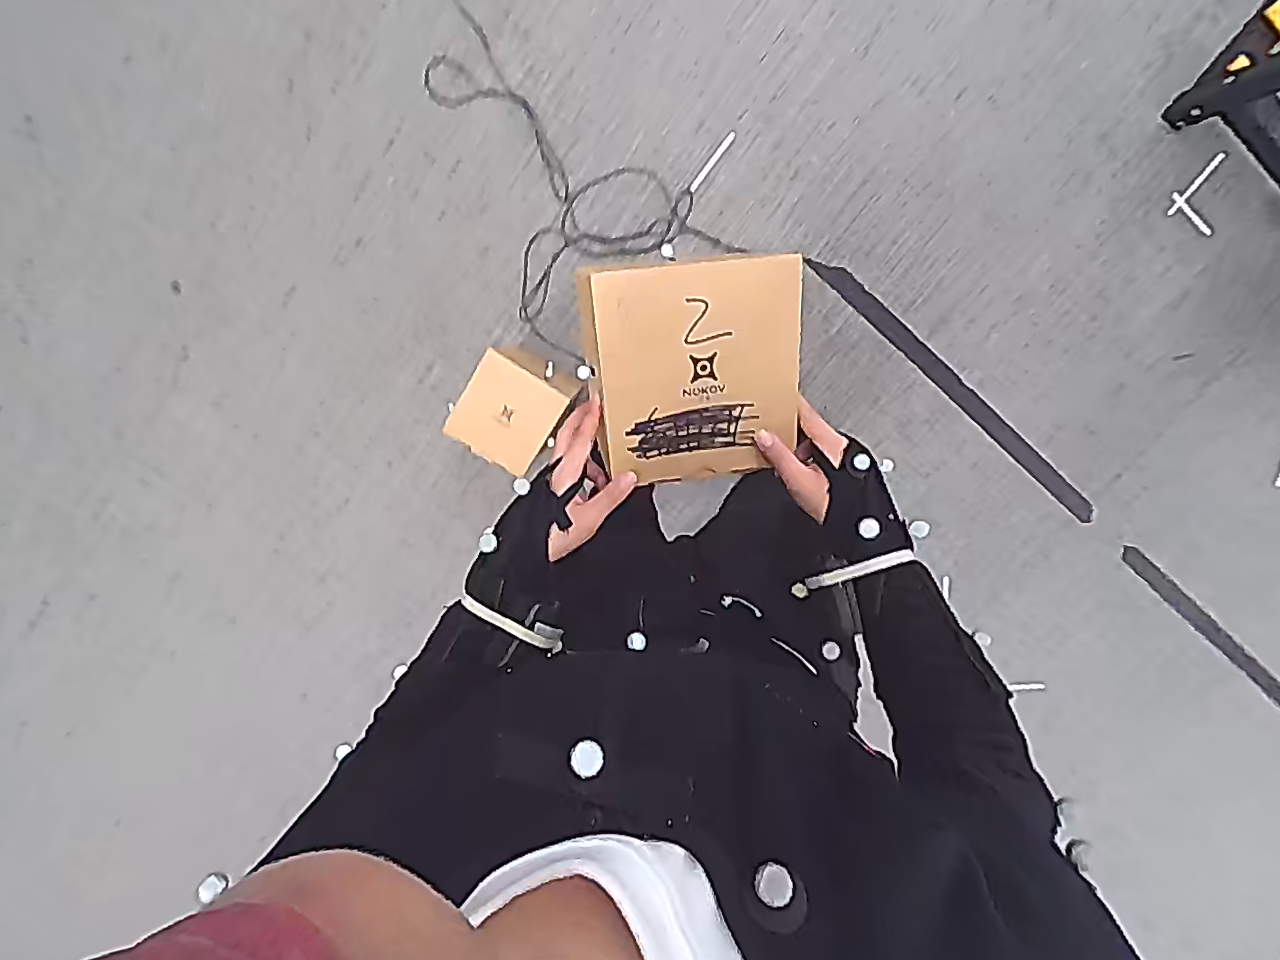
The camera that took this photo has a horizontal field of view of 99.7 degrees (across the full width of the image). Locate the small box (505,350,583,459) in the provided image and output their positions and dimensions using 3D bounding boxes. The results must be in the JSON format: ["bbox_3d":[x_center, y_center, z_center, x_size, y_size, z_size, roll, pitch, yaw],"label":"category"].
[{"bbox_3d":[-0.241,-0.171,1.190,0.179,0.176,0.168,30,103,-10],"label":"small box"}]

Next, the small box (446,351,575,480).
[{"bbox_3d":[-0.235,-0.132,1.032,0.168,0.176,0.179,32,103,-10],"label":"small box"}]
